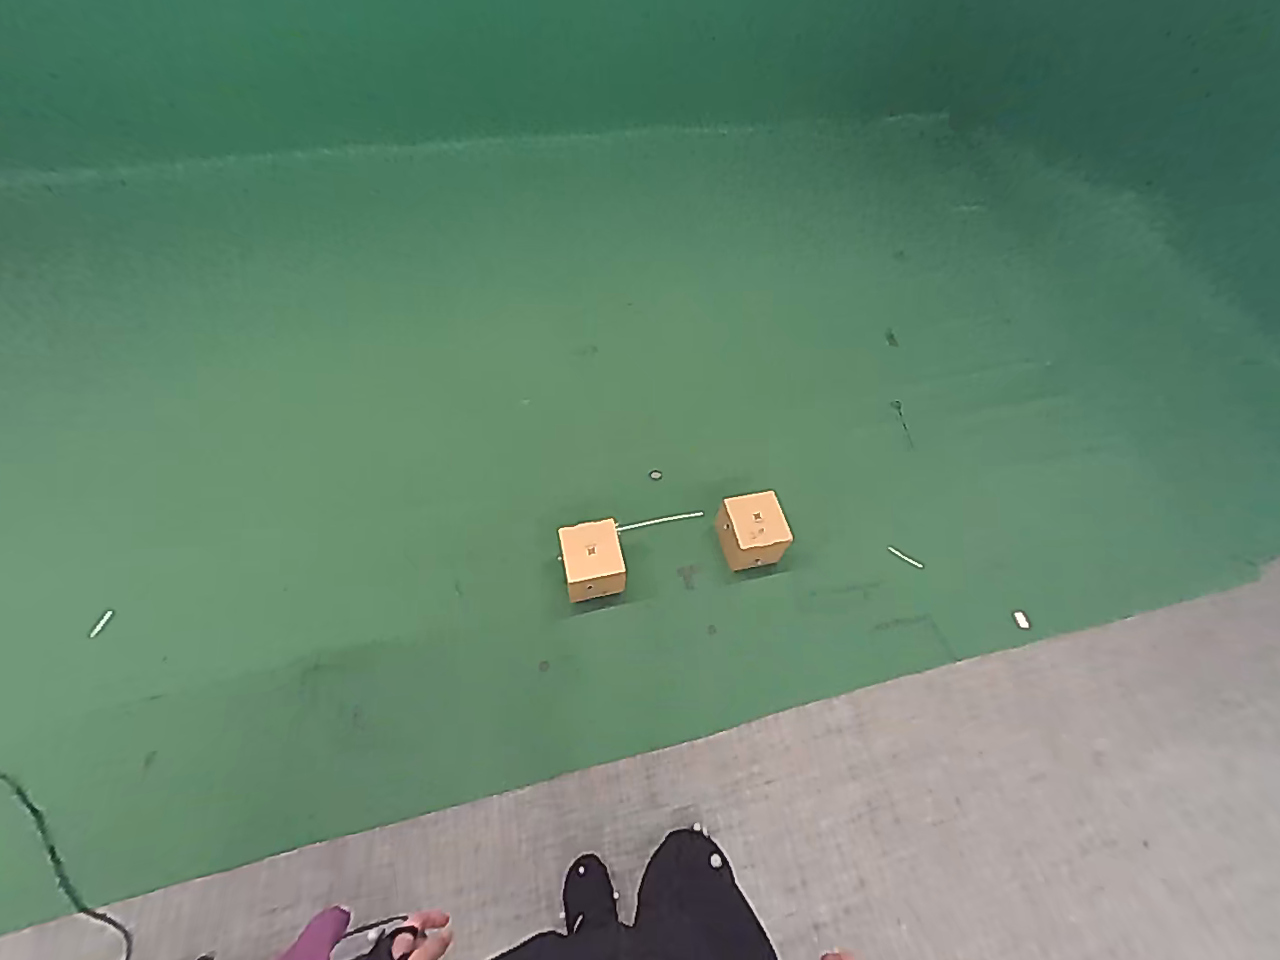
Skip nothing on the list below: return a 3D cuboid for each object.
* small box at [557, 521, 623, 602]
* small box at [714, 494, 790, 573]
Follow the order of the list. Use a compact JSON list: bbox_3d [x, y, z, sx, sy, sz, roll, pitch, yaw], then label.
[{"bbox_3d":[-0.146,0.249,1.606,0.168,0.176,0.179,-10,58,-10],"label":"small box"},{"bbox_3d":[0.343,0.169,1.692,0.168,0.176,0.179,-9,59,-10],"label":"small box"}]
